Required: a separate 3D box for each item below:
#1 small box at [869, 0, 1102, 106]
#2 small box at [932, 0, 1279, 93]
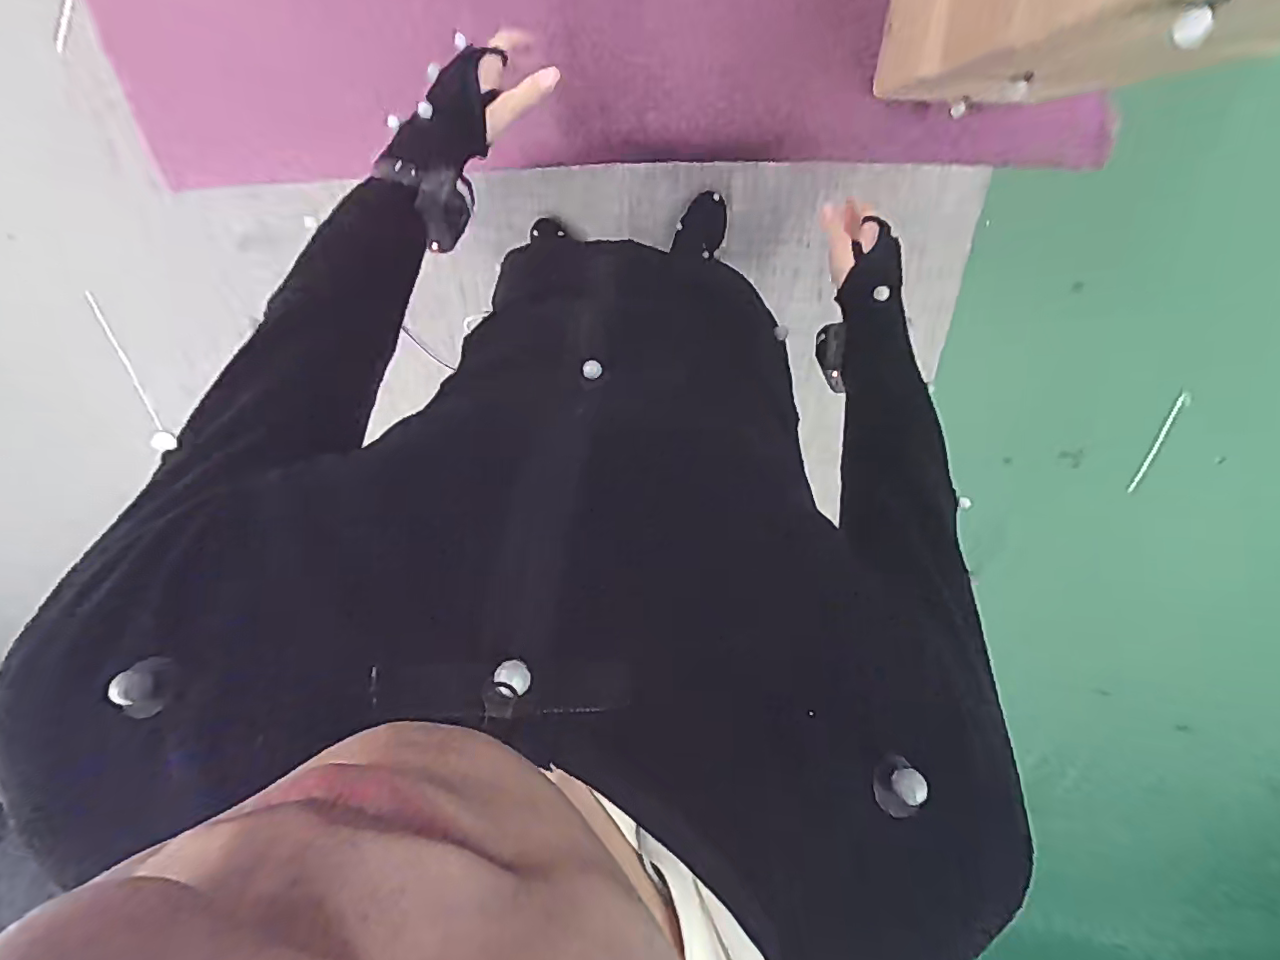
[{"bbox_3d":[0.346,-0.468,0.517,0.179,0.176,0.168,5,120,3],"label":"small box"},{"bbox_3d":[0.332,-0.389,0.375,0.168,0.176,0.179,6,121,5],"label":"small box"}]
